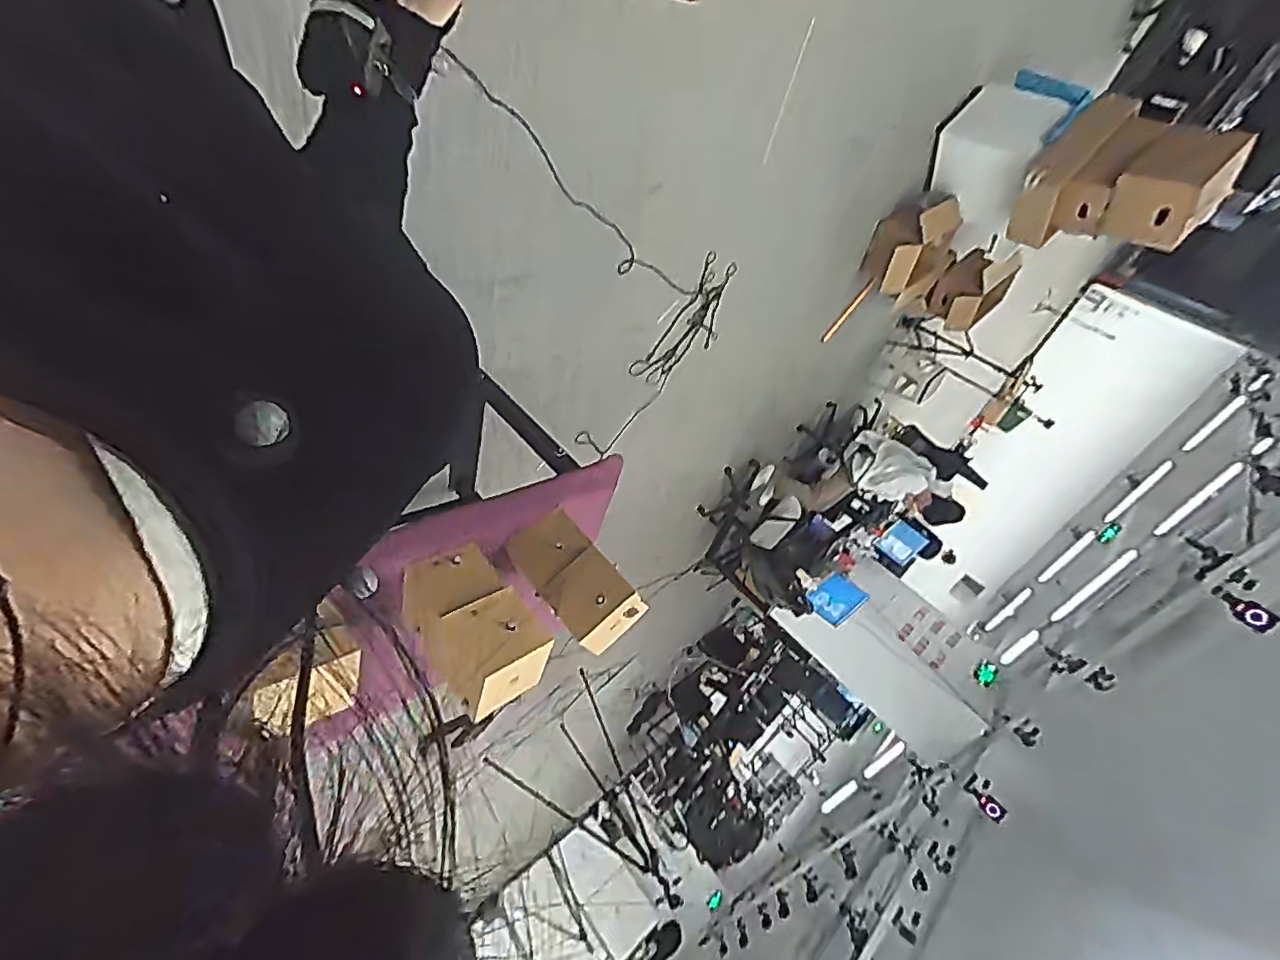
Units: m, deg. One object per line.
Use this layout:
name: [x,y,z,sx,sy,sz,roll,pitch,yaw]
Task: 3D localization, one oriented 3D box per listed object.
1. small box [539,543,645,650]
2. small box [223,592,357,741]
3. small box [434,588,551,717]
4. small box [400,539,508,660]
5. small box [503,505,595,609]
small box: [-0.117,0.285,1.331,0.179,0.176,0.168,-41,152,-10]
small box: [-0.647,0.330,0.998,0.168,0.176,0.179,-15,139,-45]
small box: [-0.318,0.352,1.143,0.168,0.176,0.179,-21,145,-43]
small box: [-0.428,0.265,1.228,0.168,0.176,0.179,-20,143,-43]
small box: [-0.230,0.196,1.415,0.179,0.176,0.168,-36,151,-21]
